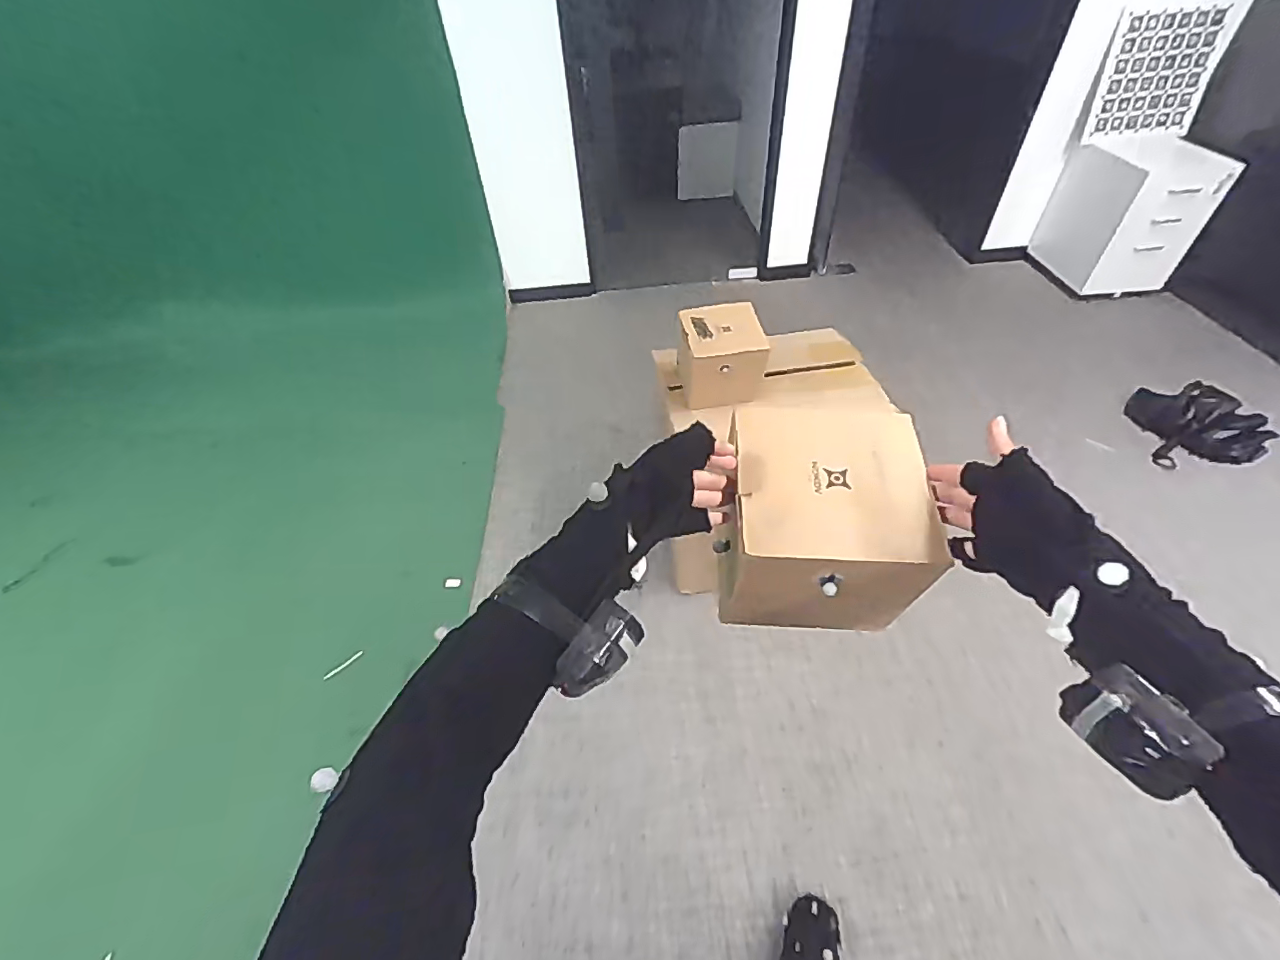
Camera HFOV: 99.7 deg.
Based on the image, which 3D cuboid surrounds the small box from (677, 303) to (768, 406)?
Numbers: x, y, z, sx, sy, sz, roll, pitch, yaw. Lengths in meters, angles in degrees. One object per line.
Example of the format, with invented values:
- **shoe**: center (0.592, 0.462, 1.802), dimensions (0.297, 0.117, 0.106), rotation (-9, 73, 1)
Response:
- **small box**: center (0.188, -0.294, 1.289), dimensions (0.179, 0.176, 0.168), rotation (-8, 56, -5)
